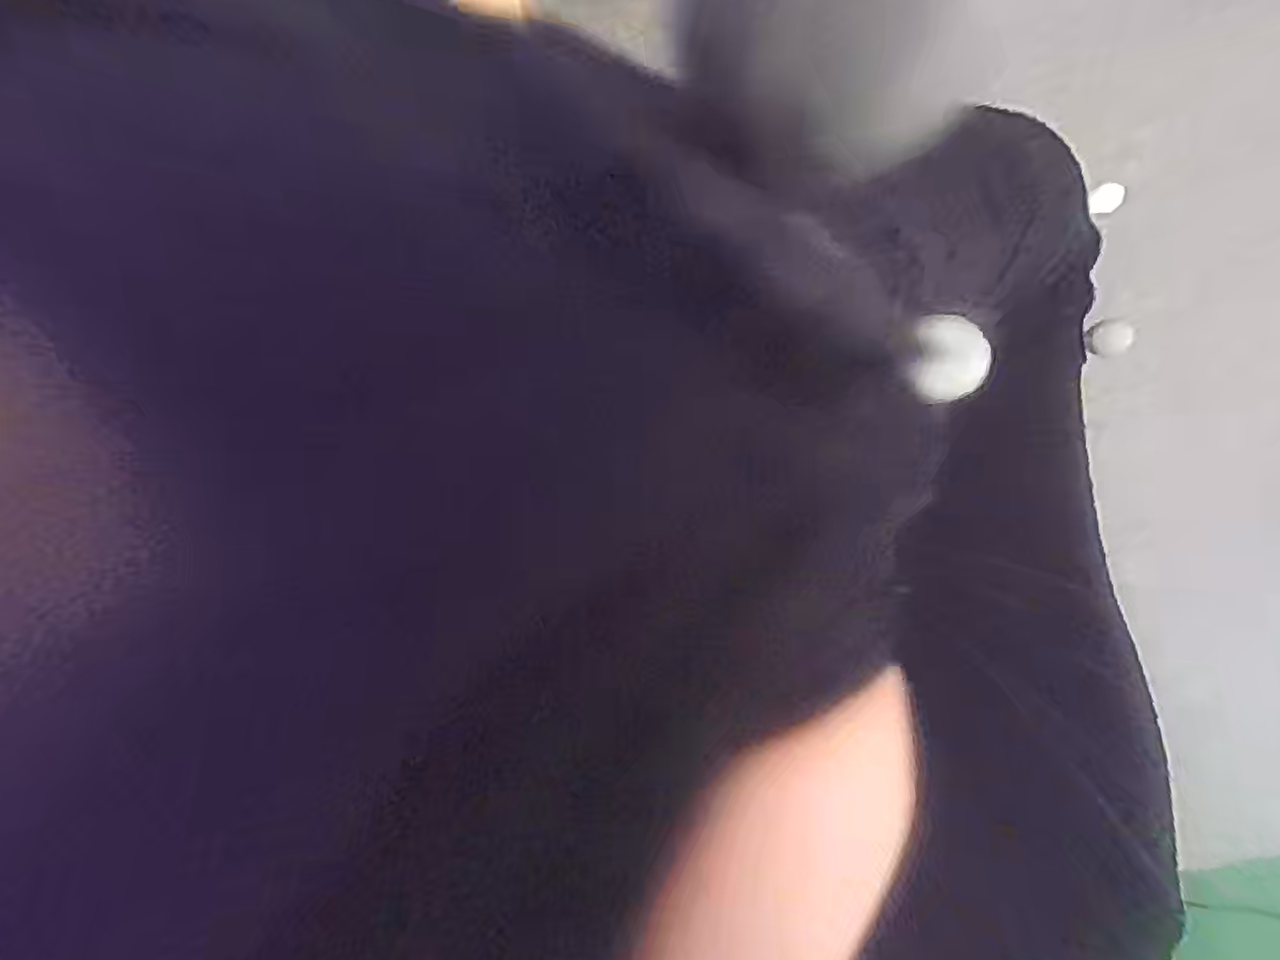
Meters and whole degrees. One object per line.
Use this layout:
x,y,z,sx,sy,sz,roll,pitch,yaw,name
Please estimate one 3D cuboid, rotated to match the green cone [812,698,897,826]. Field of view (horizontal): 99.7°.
0.672,0.864,1.612,0.202,0.368,0.200,-18,104,8,green cone
